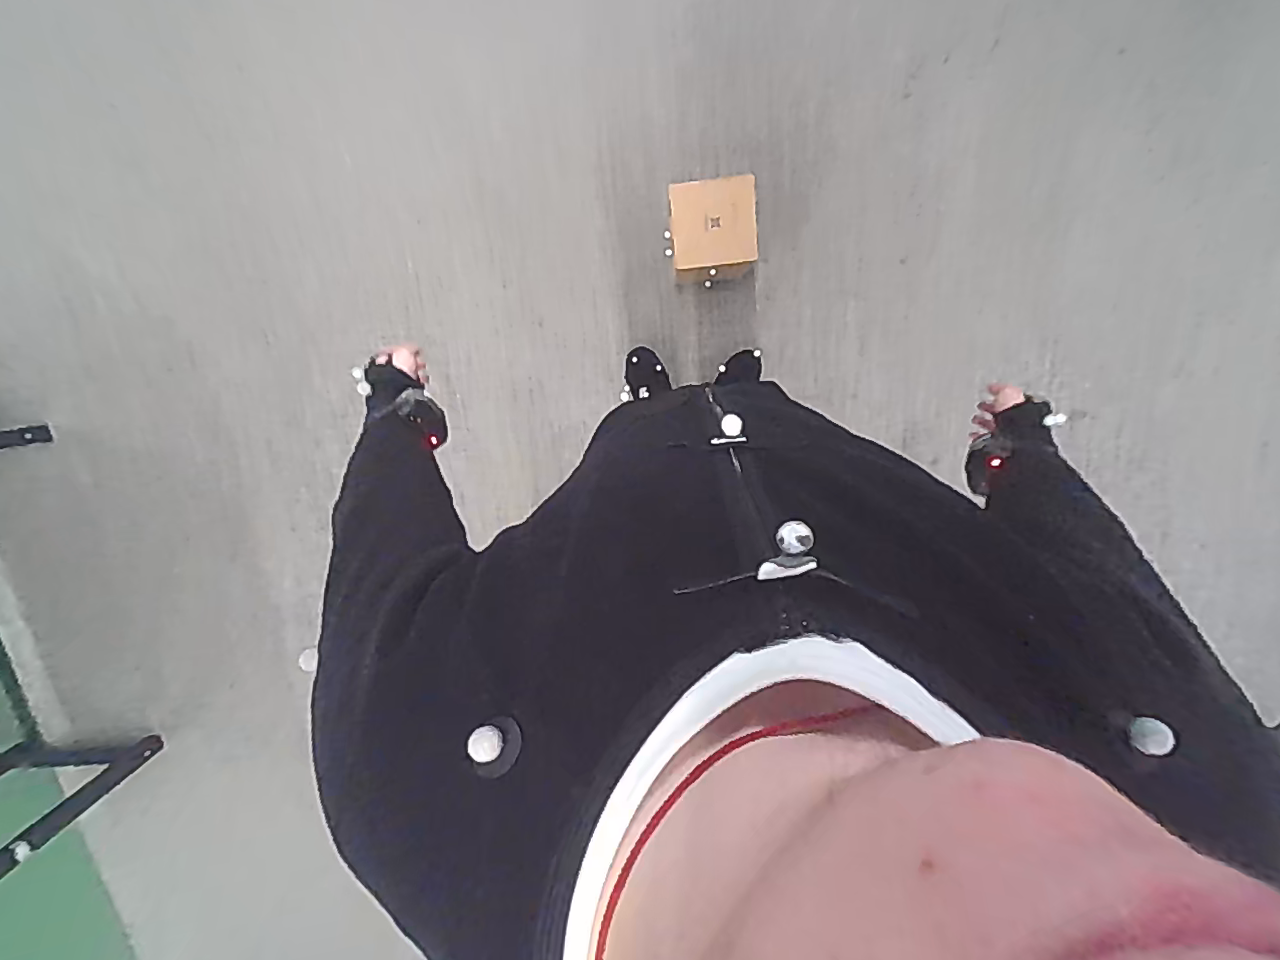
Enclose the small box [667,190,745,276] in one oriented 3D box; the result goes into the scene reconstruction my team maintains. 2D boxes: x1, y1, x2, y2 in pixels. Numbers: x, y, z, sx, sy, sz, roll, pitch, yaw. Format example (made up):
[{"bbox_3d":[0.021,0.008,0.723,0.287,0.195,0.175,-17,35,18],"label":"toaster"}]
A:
[{"bbox_3d":[0.159,-0.606,1.342,0.179,0.176,0.168,-4,104,4],"label":"small box"}]
